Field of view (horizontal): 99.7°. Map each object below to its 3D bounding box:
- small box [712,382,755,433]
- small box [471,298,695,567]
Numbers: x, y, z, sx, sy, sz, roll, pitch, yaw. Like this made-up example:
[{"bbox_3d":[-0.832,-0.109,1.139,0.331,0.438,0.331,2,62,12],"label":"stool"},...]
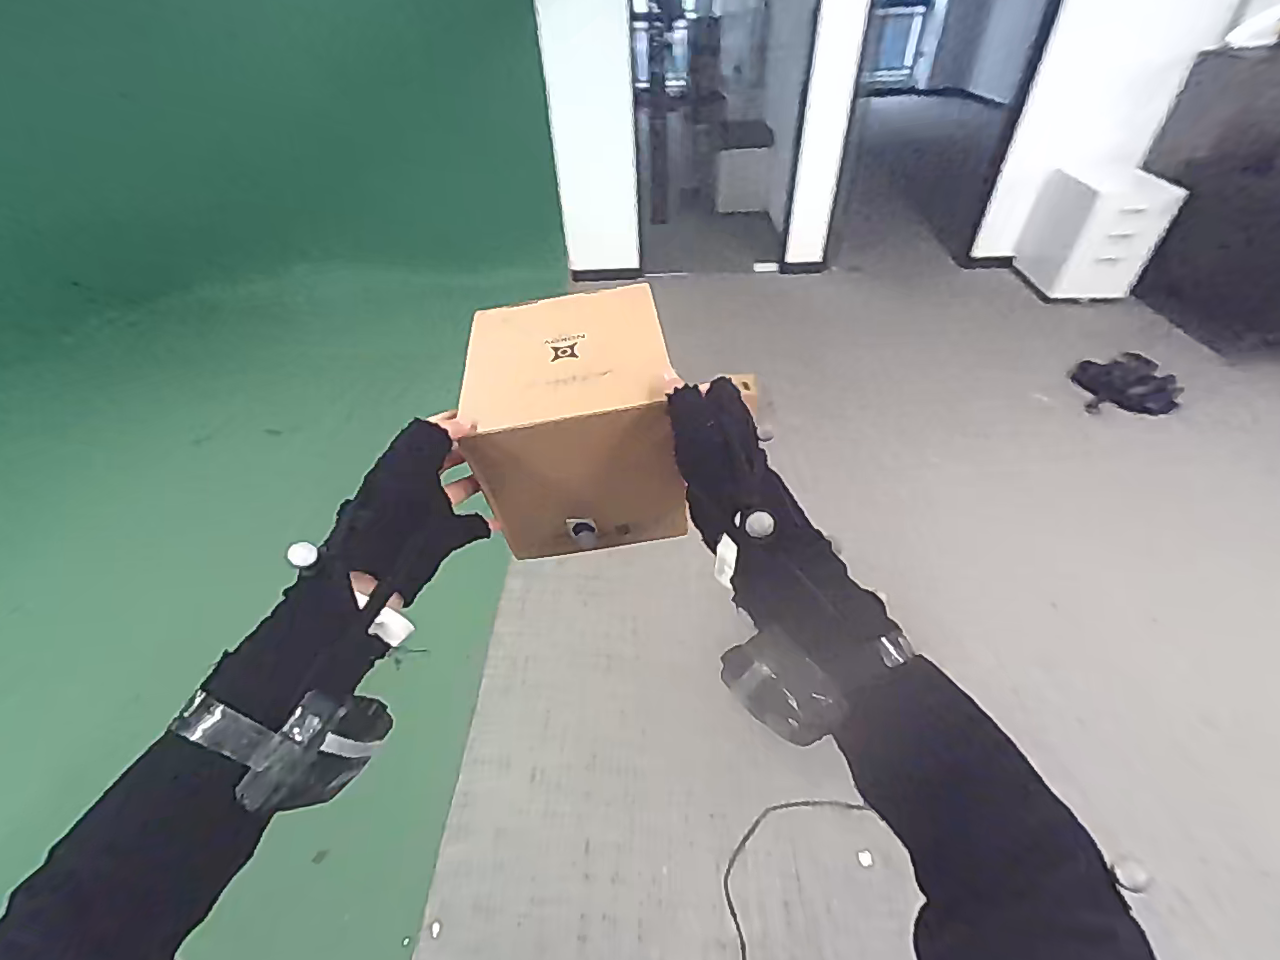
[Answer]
[{"bbox_3d":[0.419,-0.327,2.451,0.179,0.176,0.168,-1,41,5],"label":"small box"},{"bbox_3d":[-0.045,-0.044,0.513,0.168,0.176,0.179,-10,47,1],"label":"small box"}]
